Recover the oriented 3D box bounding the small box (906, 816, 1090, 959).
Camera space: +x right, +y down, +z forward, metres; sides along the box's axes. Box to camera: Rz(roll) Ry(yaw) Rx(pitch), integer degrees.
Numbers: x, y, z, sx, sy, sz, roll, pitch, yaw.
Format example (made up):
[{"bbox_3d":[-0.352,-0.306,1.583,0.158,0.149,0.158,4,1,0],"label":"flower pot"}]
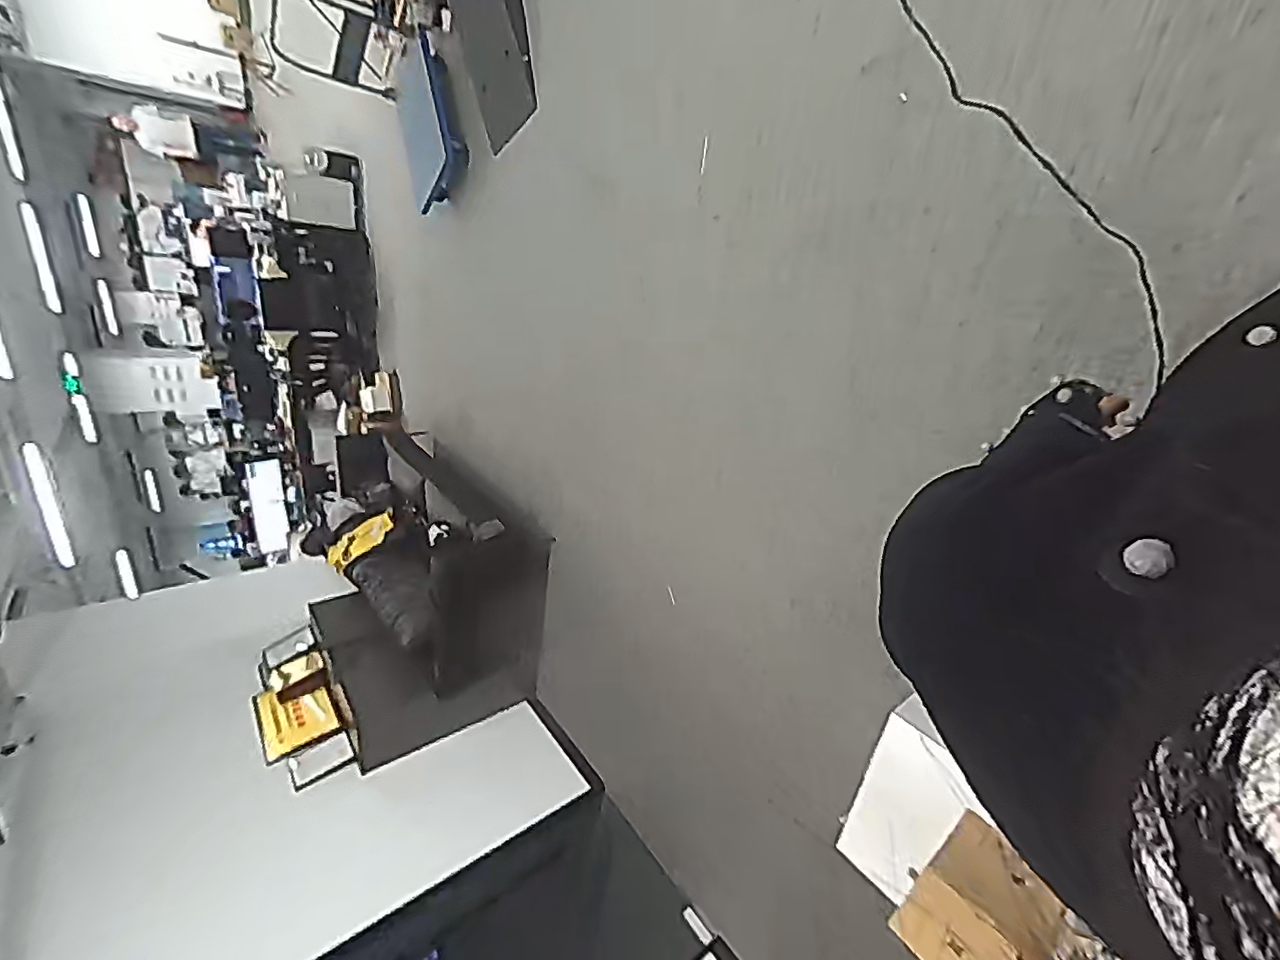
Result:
[{"bbox_3d":[0.563,0.687,0.853,0.168,0.176,0.179,34,124,42],"label":"small box"}]
